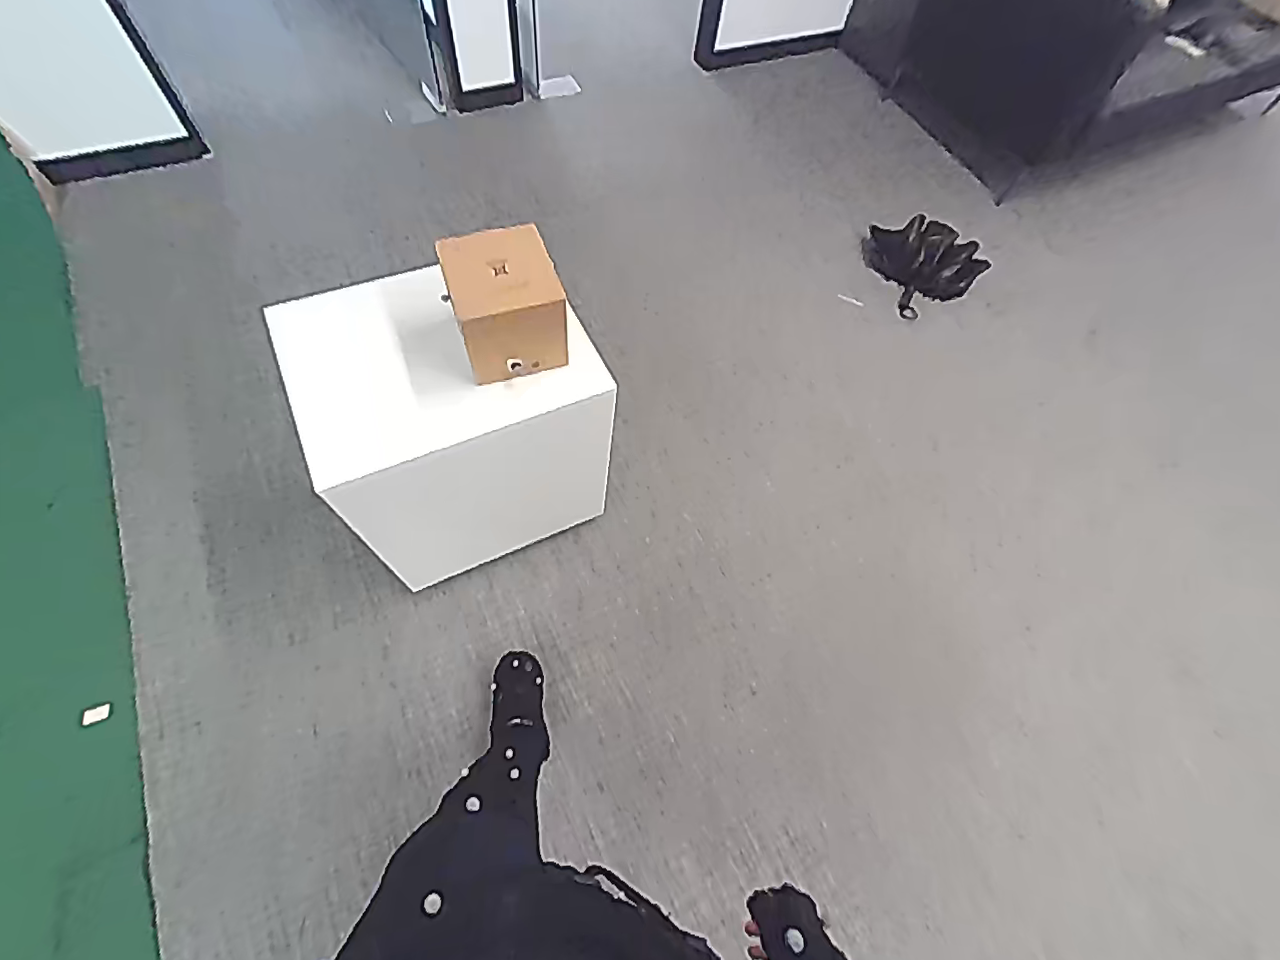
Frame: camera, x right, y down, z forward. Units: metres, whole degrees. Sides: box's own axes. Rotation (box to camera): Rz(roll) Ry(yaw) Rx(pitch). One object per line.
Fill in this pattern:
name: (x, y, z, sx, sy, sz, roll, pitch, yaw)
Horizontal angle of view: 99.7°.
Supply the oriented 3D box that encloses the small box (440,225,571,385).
small box: (-0.220, -0.290, 0.910, 0.168, 0.176, 0.179, -18, 67, -14)
